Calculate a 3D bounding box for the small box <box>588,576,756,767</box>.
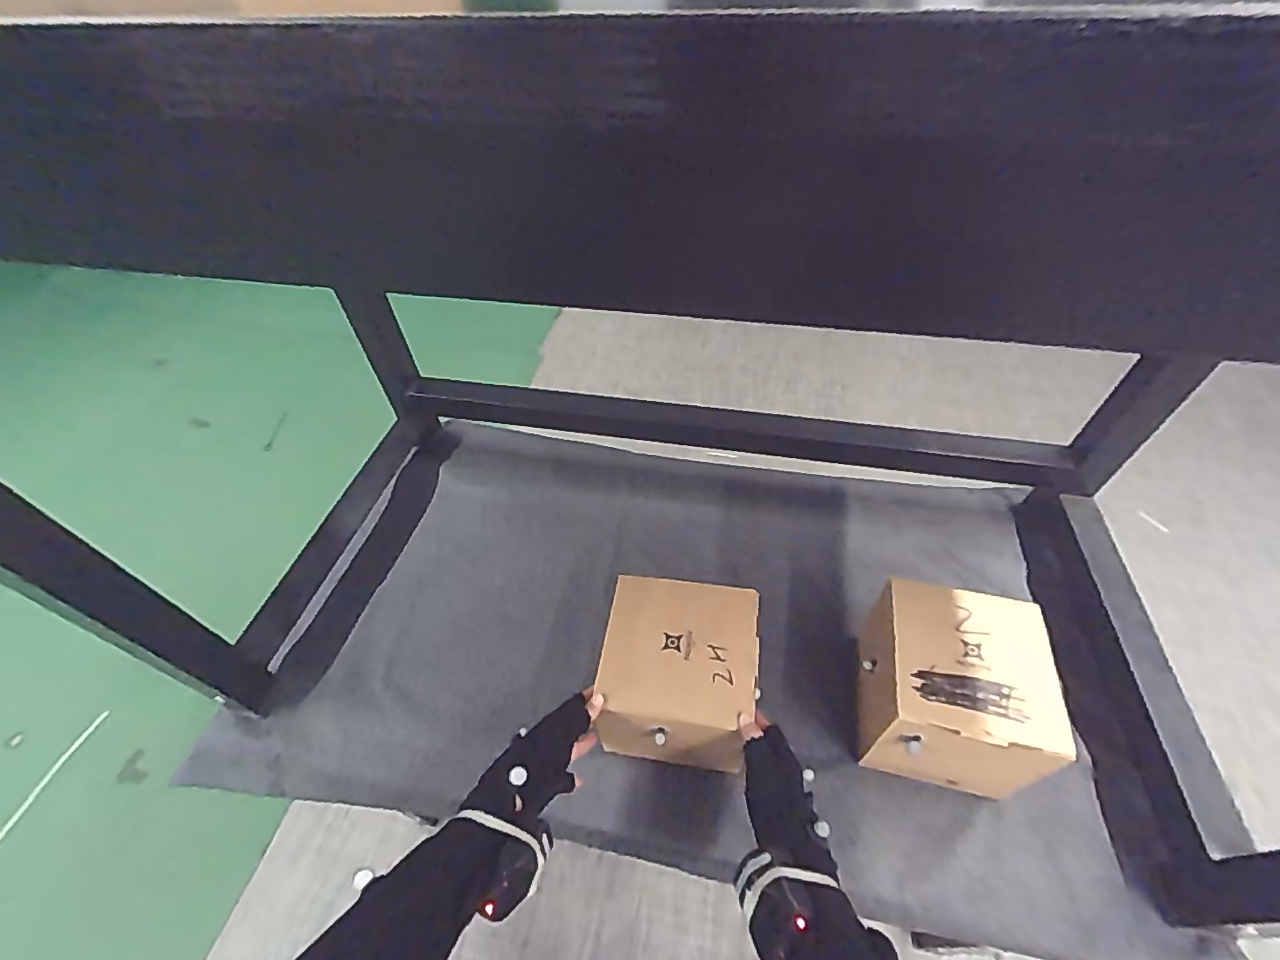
[{"bbox_3d":[0.046,0.243,0.679,0.179,0.176,0.168,6,50,8],"label":"small box"}]
